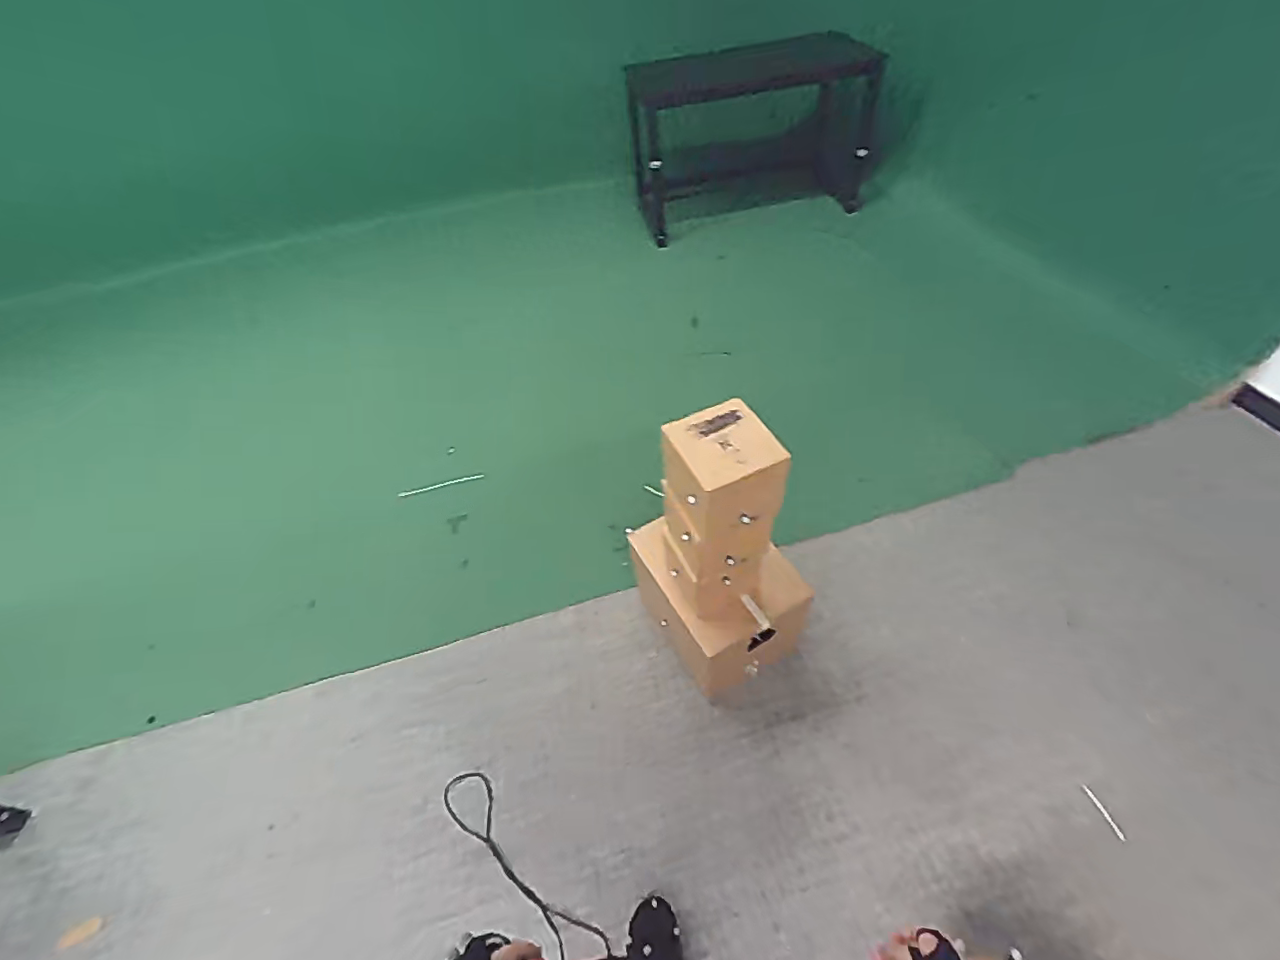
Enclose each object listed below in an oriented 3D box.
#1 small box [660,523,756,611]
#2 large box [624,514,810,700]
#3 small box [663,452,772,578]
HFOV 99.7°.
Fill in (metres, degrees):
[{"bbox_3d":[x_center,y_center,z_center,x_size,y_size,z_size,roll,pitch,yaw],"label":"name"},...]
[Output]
[{"bbox_3d":[0.164,0.181,1.275,0.179,0.176,0.168,-22,52,-12],"label":"small box"},{"bbox_3d":[0.199,0.309,1.485,0.320,0.320,0.408,-25,51,-16],"label":"large box"},{"bbox_3d":[0.158,0.077,1.151,0.168,0.176,0.179,-21,52,-11],"label":"small box"}]
